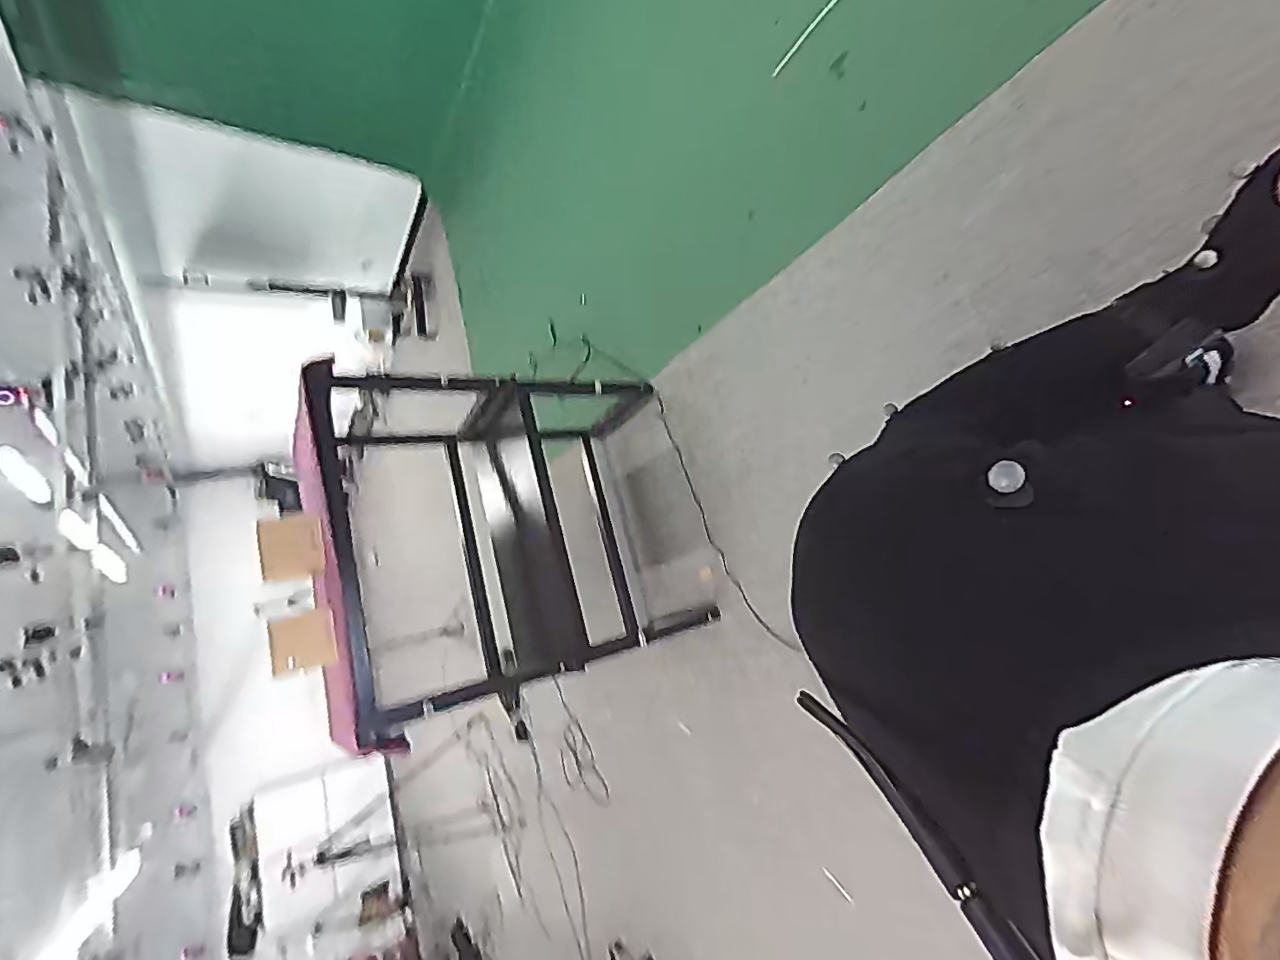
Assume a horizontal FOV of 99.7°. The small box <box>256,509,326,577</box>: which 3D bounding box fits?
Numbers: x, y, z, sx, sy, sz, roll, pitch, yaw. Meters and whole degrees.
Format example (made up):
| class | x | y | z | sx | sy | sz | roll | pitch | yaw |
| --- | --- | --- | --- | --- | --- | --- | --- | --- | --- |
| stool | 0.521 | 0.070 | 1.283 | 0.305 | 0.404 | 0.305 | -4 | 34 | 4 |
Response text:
| class | x | y | z | sx | sy | sz | roll | pitch | yaw |
| --- | --- | --- | --- | --- | --- | --- | --- | --- | --- |
| small box | -1.096 | 0.195 | 1.696 | 0.168 | 0.176 | 0.179 | -32 | 69 | 52 |
